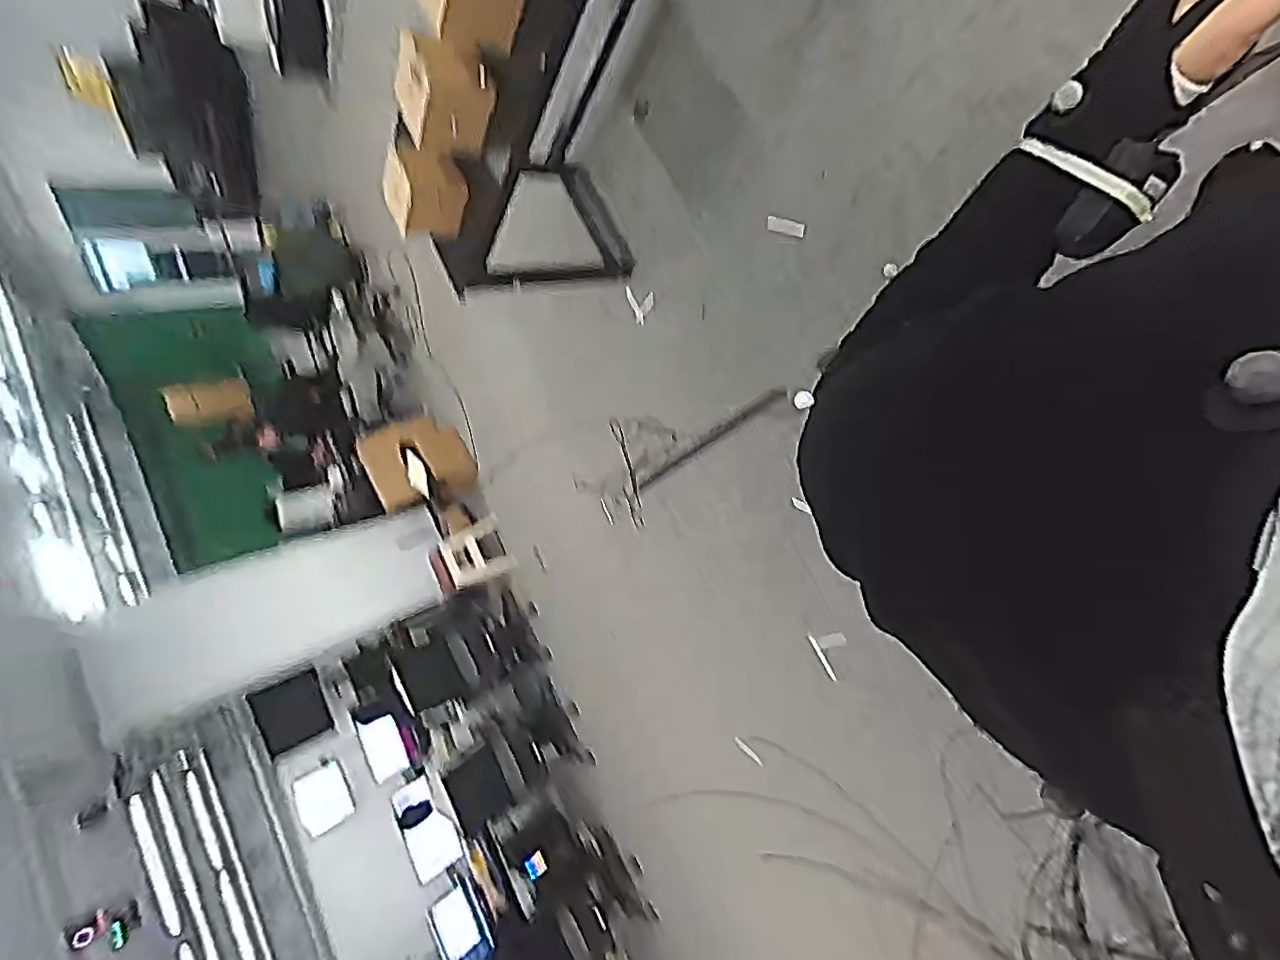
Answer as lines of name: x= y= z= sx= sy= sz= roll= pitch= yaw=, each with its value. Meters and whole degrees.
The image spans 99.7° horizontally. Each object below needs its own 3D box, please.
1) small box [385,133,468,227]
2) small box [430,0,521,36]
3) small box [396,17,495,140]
small box: x=-0.617 y=-0.864 z=1.569 sx=0.179 sy=0.176 sz=0.168 roll=-41 pitch=72 yaw=52
small box: x=-0.347 y=-1.079 z=1.121 sx=0.179 sy=0.176 sz=0.168 roll=-37 pitch=76 yaw=53
small box: x=-0.478 y=-0.980 z=1.336 sx=0.179 sy=0.176 sz=0.168 roll=-36 pitch=77 yaw=53
